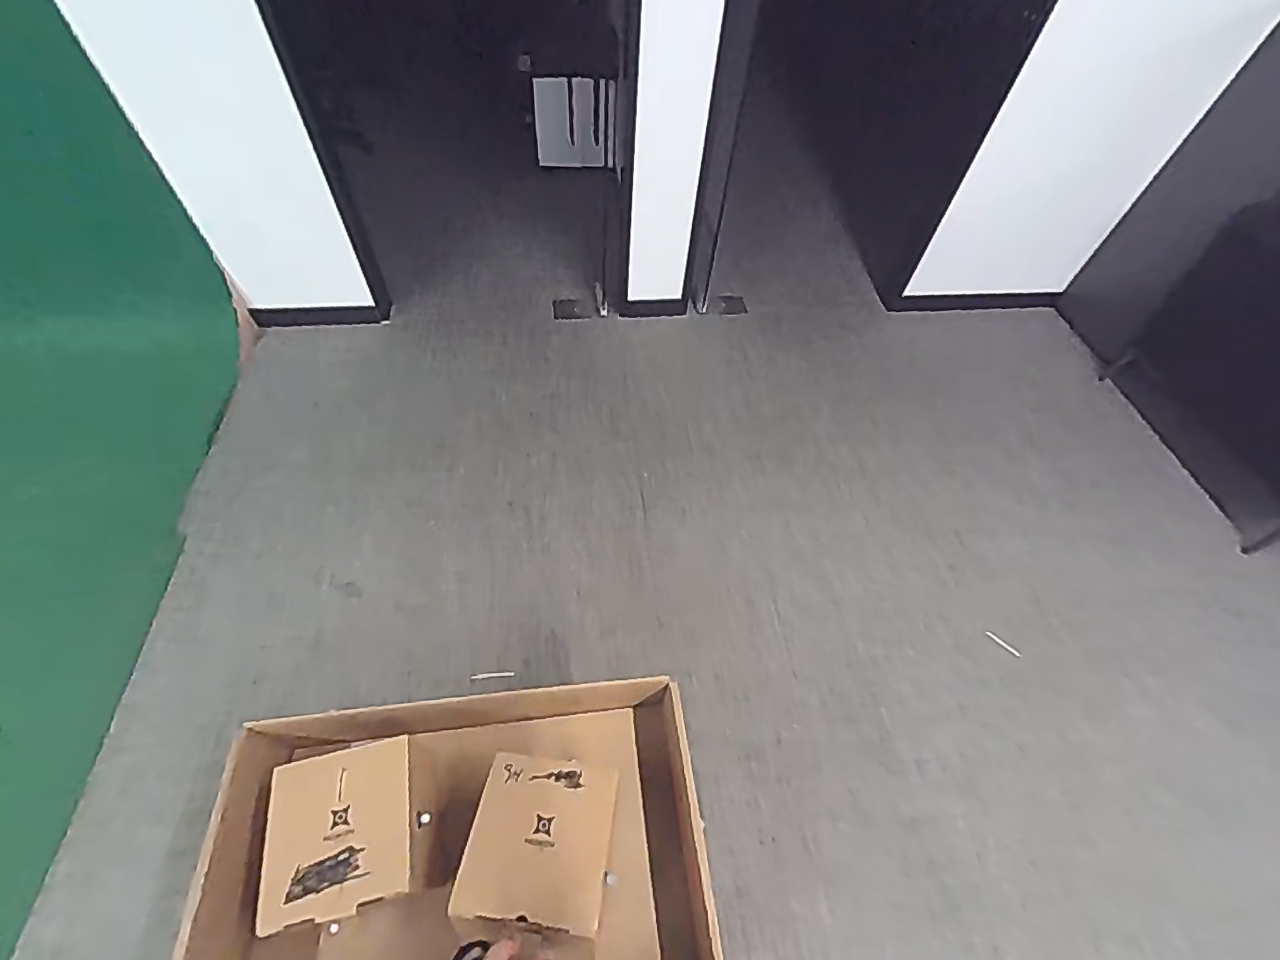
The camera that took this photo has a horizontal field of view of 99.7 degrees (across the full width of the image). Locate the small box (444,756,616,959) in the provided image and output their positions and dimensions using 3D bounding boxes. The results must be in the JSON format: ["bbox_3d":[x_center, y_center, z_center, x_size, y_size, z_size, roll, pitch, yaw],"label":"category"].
[{"bbox_3d":[-0.124,0.487,0.687,0.168,0.176,0.179,7,39,3],"label":"small box"}]
